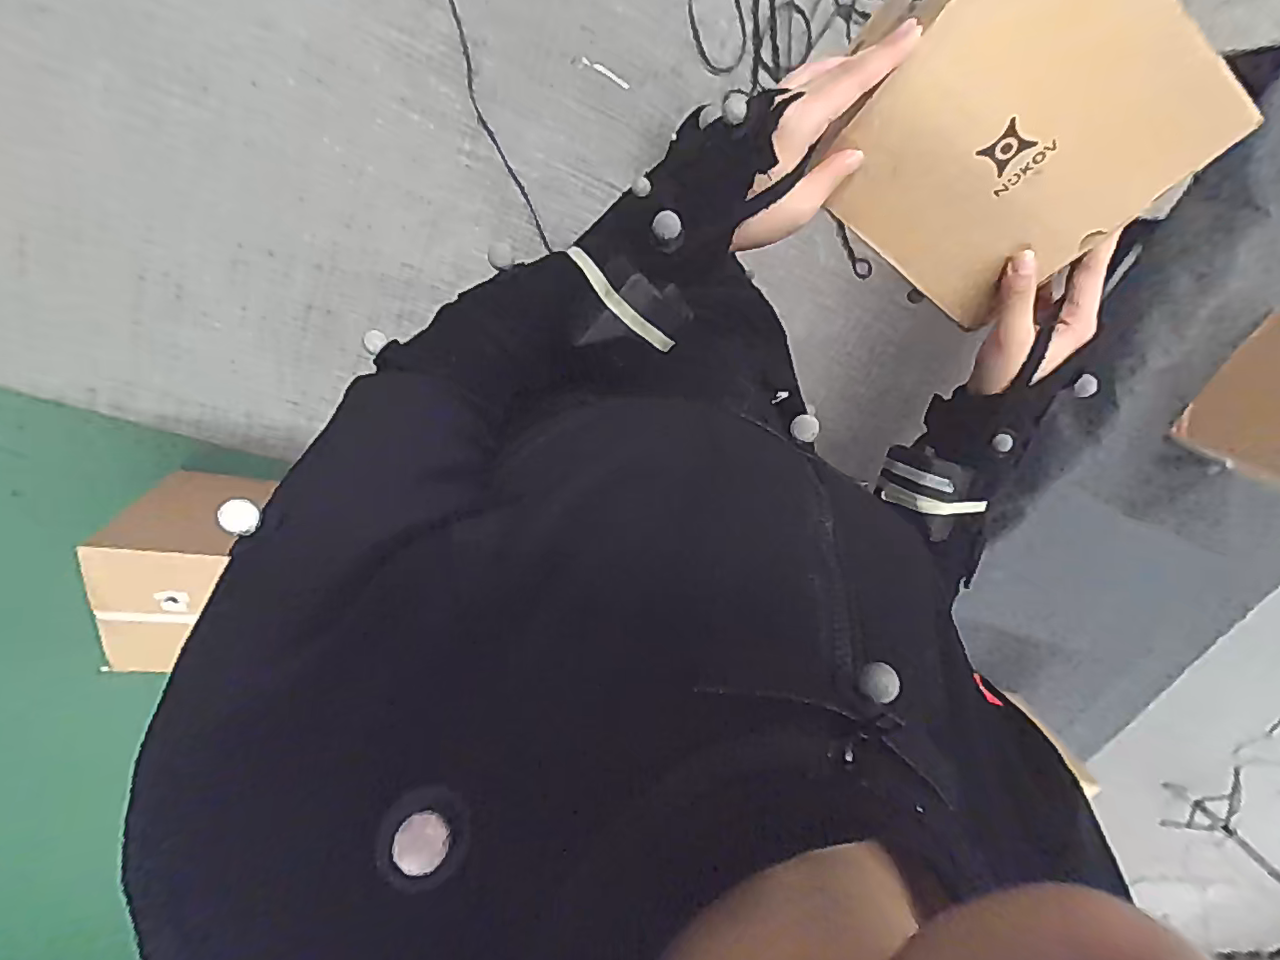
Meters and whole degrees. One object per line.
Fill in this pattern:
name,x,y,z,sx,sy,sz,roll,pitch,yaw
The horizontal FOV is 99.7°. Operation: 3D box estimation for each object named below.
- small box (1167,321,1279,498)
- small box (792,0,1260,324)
small box,0.802,-0.067,0.636,0.168,0.176,0.179,19,113,-19
small box,0.220,-0.248,0.363,0.179,0.176,0.168,29,133,-18
